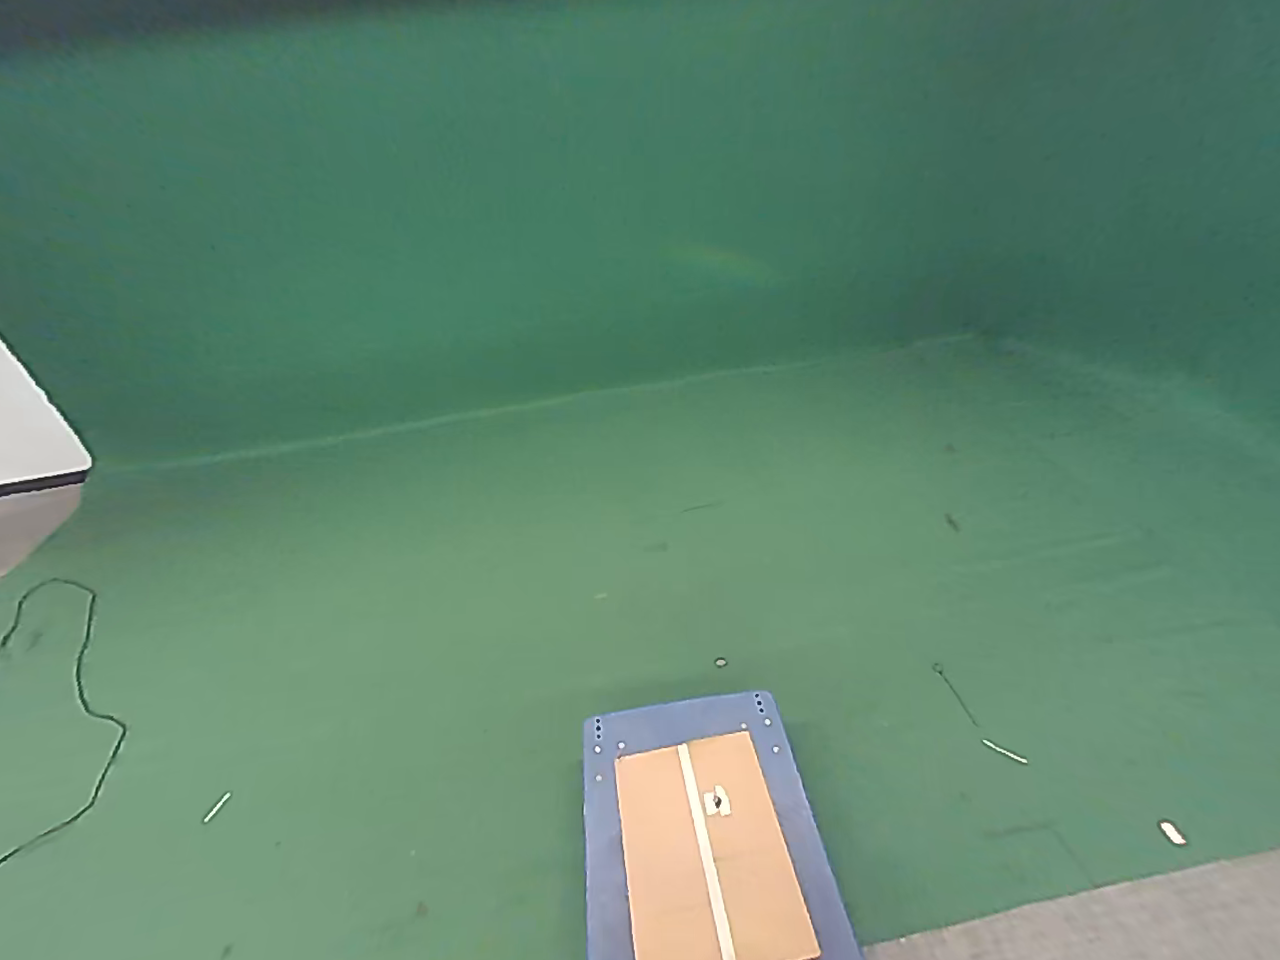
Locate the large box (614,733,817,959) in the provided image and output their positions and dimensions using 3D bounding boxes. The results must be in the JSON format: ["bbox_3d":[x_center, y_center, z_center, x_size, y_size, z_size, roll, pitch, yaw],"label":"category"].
[{"bbox_3d":[0.142,0.837,1.151,0.320,0.320,0.408,-10,35,-3],"label":"large box"}]
